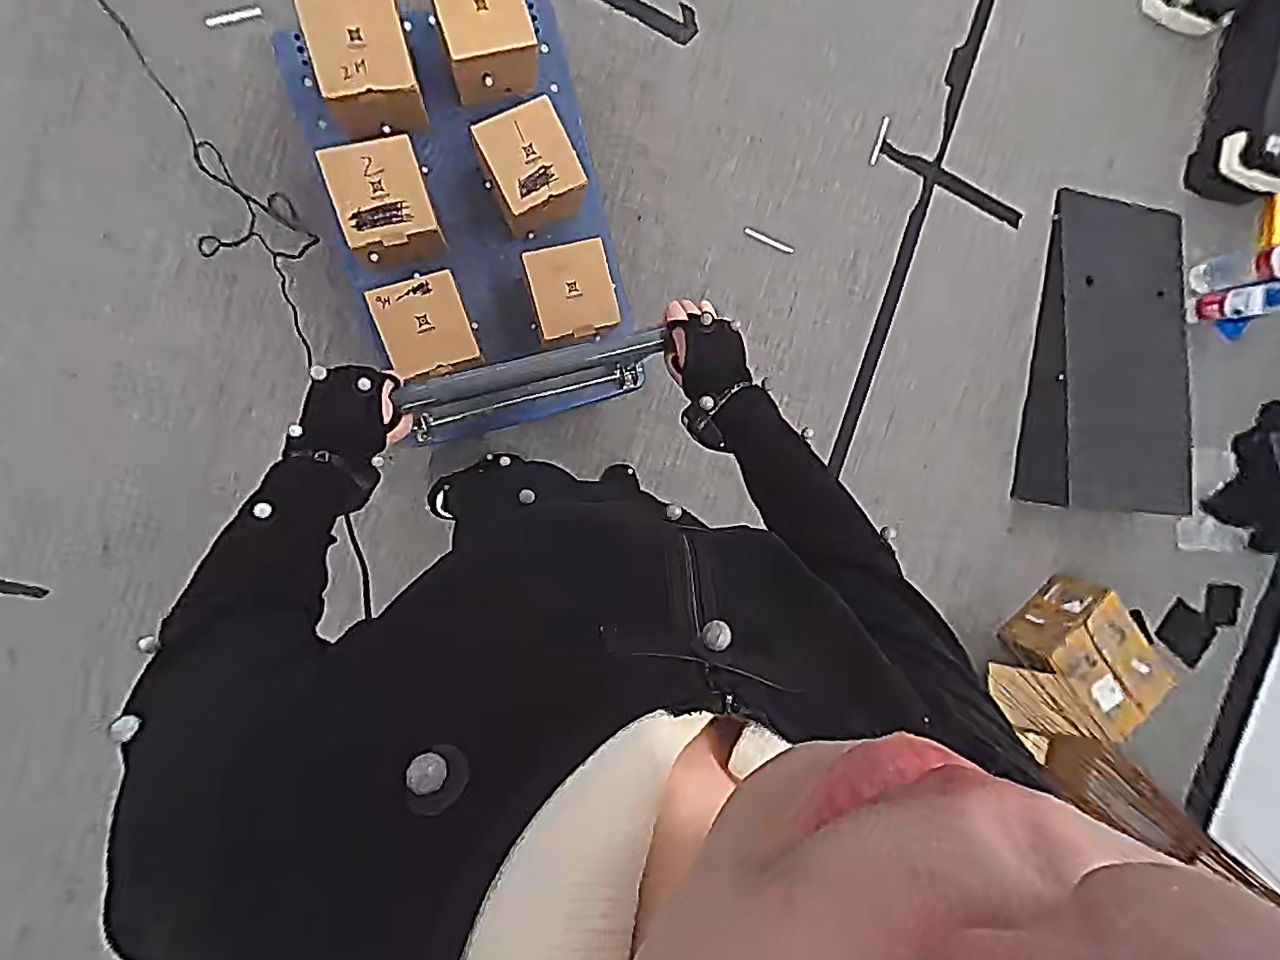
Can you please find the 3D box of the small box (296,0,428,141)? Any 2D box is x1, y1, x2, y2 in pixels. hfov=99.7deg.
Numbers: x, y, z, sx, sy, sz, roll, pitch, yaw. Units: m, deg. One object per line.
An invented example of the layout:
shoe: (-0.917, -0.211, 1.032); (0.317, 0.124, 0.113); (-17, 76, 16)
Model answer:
small box: (-0.523, -0.793, 1.039); (0.168, 0.176, 0.179); (-15, 100, -10)

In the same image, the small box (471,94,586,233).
small box: (-0.228, -0.640, 1.123); (0.168, 0.176, 0.179); (-29, 101, -8)

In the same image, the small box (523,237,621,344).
small box: (-0.150, -0.399, 1.170); (0.168, 0.176, 0.179); (-16, 99, -10)

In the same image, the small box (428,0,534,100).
small box: (-0.314, -0.894, 1.075); (0.168, 0.176, 0.179); (-20, 100, -9)

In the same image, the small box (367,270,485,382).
small box: (-0.429, -0.309, 1.119); (0.168, 0.176, 0.179); (-21, 101, -10)
